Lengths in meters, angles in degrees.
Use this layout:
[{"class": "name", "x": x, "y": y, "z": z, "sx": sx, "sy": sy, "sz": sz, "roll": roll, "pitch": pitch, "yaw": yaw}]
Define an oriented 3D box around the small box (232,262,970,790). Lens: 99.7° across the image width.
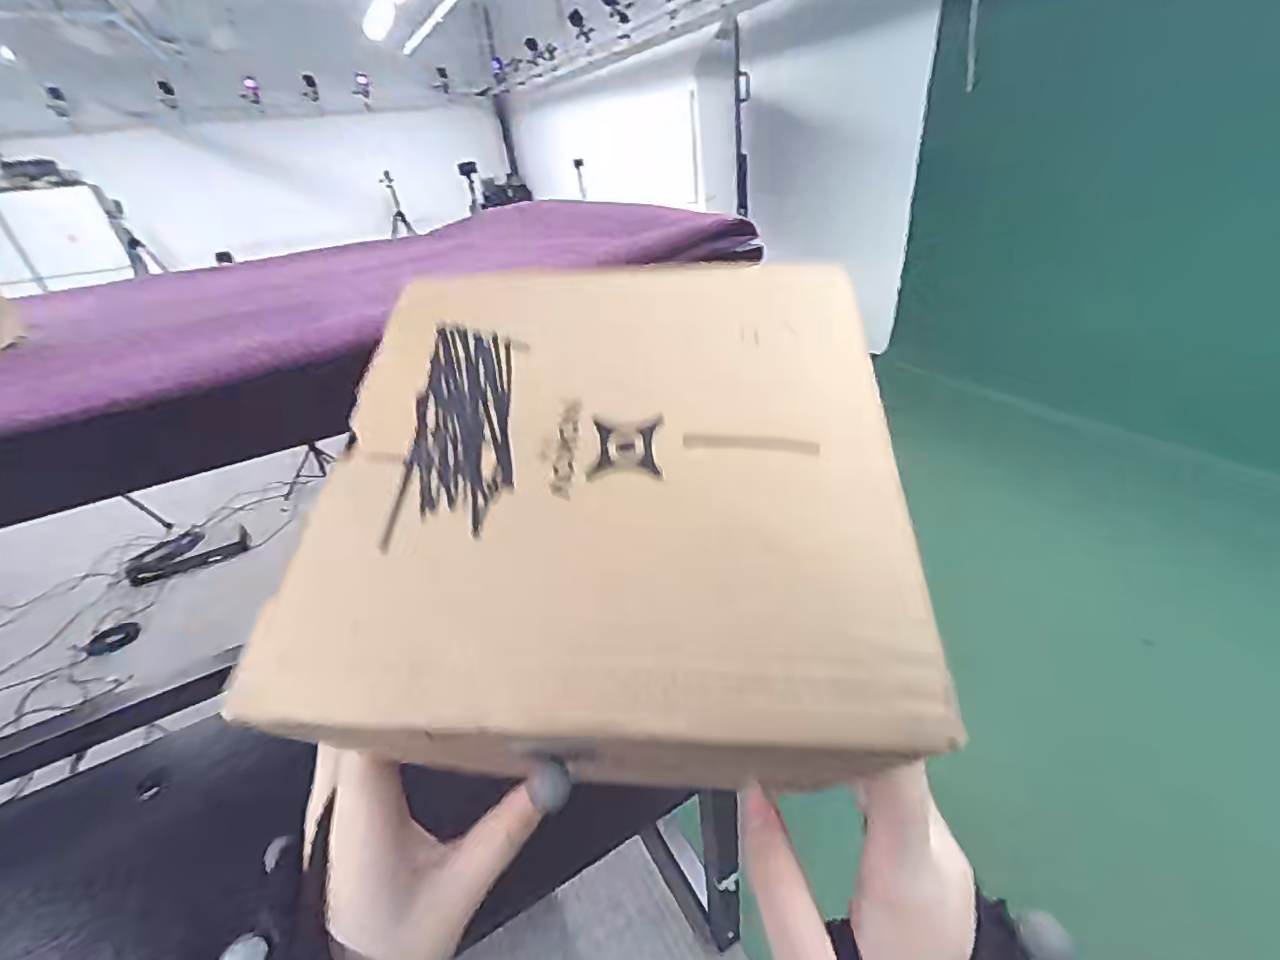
[{"class": "small box", "x": -0.004, "y": 0.032, "z": 0.232, "sx": 0.179, "sy": 0.176, "sz": 0.168, "roll": 1, "pitch": 58, "yaw": 5}]
